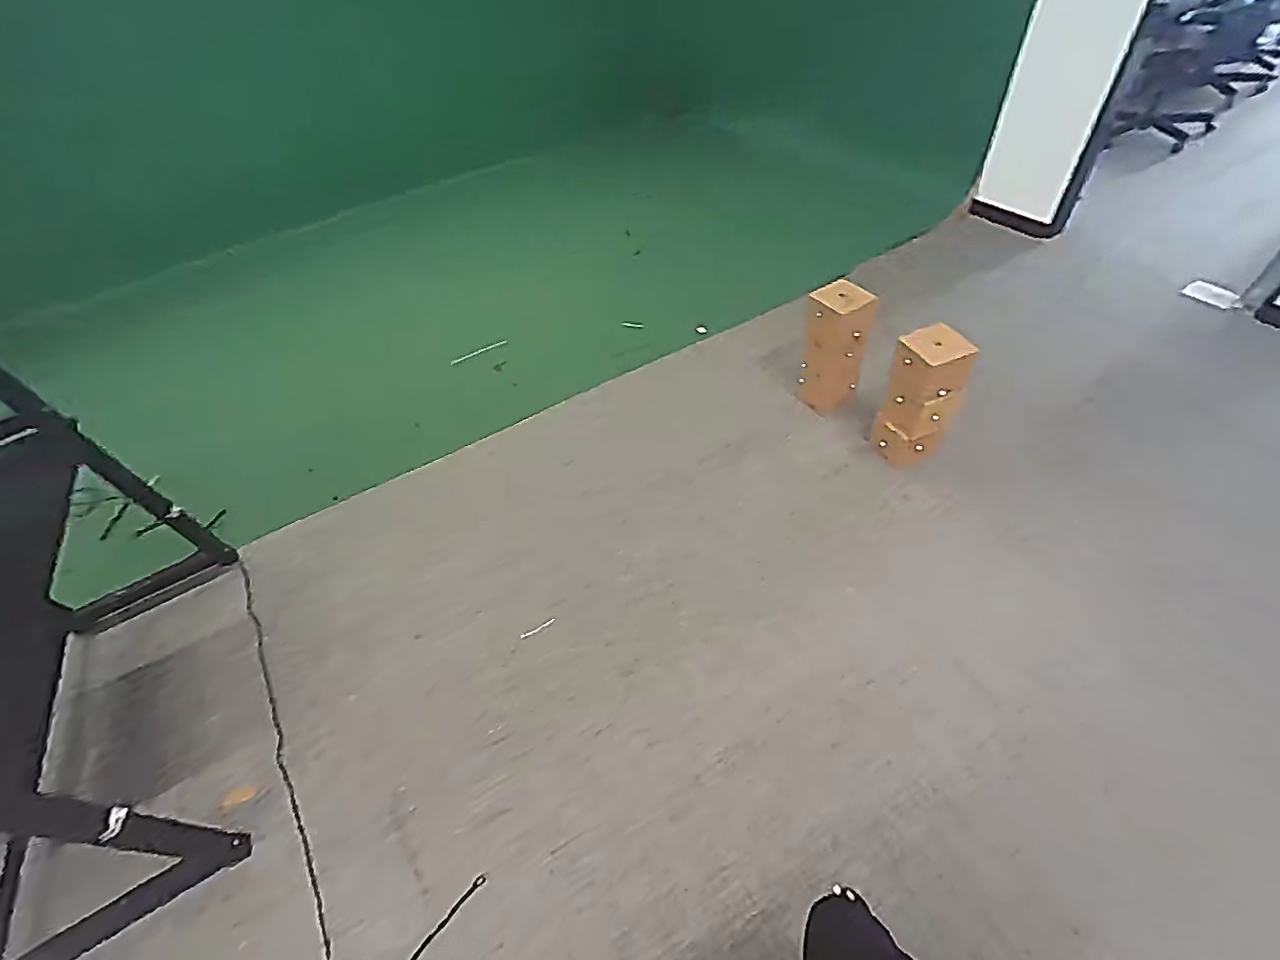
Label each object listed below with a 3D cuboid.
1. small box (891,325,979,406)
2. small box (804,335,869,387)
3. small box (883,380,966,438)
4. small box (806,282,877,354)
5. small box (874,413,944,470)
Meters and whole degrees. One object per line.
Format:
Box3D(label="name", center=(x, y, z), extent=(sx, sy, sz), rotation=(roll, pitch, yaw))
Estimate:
Box3D(label="small box", center=(0.951, -0.371, 1.766), extent=(0.168, 0.176, 0.179), rotation=(-19, 49, -5))
Box3D(label="small box", center=(0.764, -0.496, 2.123), extent=(0.179, 0.176, 0.168), rotation=(-28, 51, -15))
Box3D(label="small box", center=(0.985, -0.267, 1.887), extent=(0.168, 0.176, 0.179), rotation=(-22, 49, -9))
Box3D(label="small box", center=(0.735, -0.593, 1.992), extent=(0.168, 0.176, 0.179), rotation=(-28, 51, -13))
Box3D(label="small box", center=(0.996, -0.165, 2.014), extent=(0.179, 0.176, 0.168), rotation=(-22, 50, -7))
